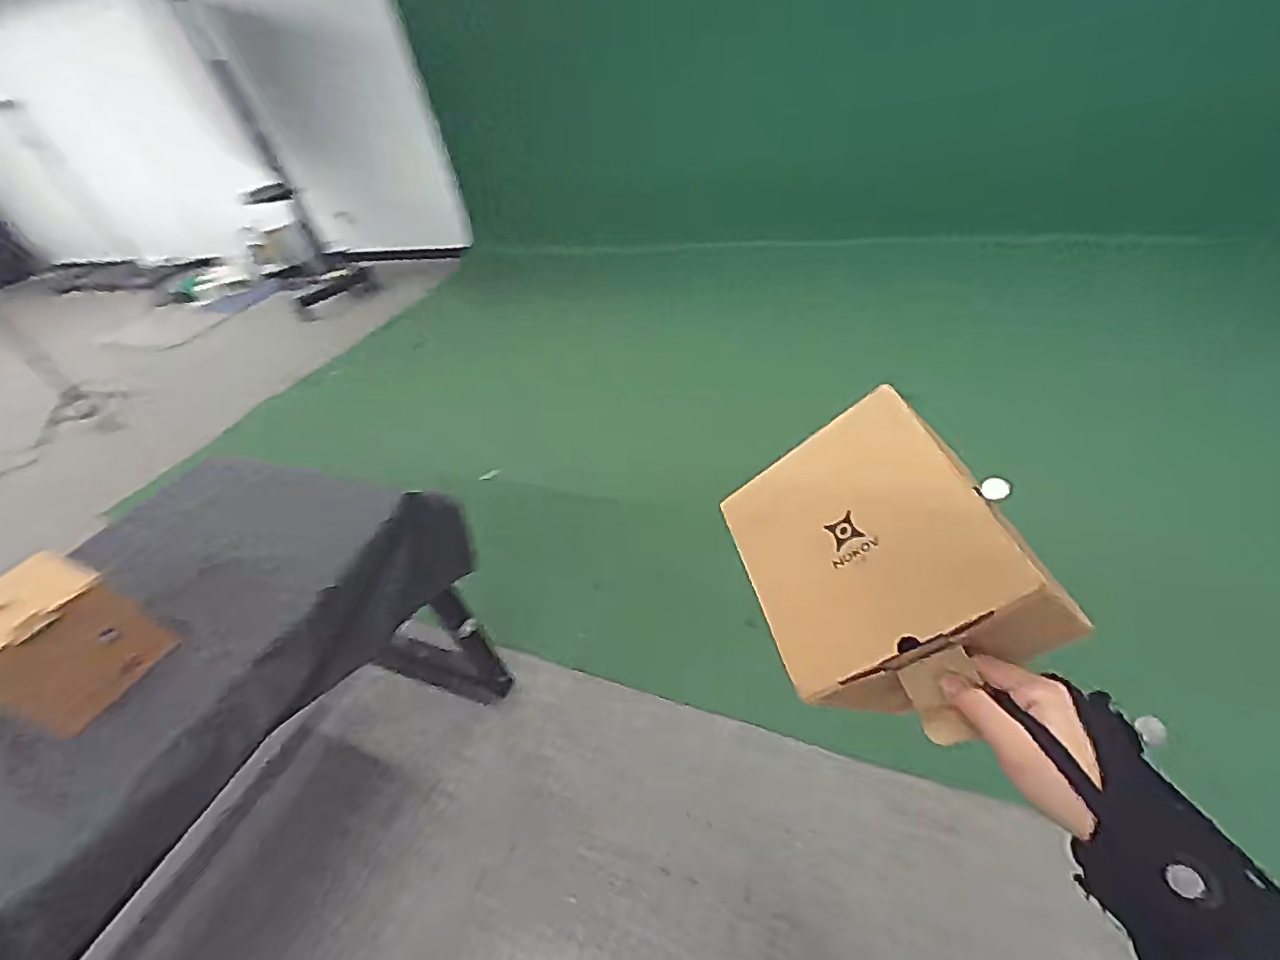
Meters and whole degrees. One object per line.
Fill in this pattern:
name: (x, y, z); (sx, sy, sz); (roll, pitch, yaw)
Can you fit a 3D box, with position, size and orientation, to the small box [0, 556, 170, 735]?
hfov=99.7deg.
small box: (-0.851, 0.241, 0.785); (0.179, 0.176, 0.168); (9, 44, 25)
